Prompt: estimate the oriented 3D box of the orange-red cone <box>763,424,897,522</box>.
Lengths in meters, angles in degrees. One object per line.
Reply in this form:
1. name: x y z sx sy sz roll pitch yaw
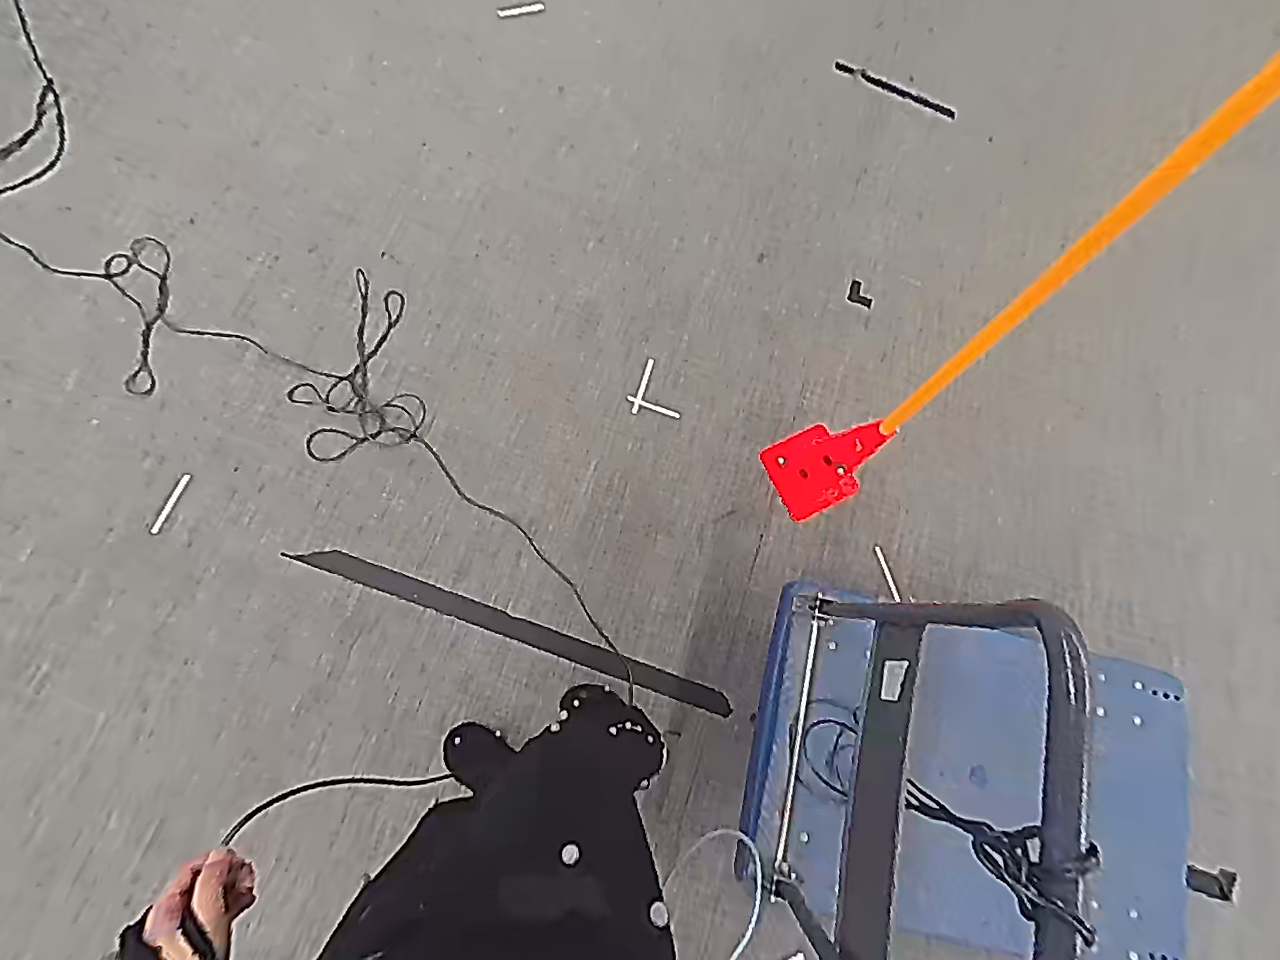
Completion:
1. orange-red cone: 0.441 -0.050 1.167 0.198 0.360 0.199 -24 82 -10
